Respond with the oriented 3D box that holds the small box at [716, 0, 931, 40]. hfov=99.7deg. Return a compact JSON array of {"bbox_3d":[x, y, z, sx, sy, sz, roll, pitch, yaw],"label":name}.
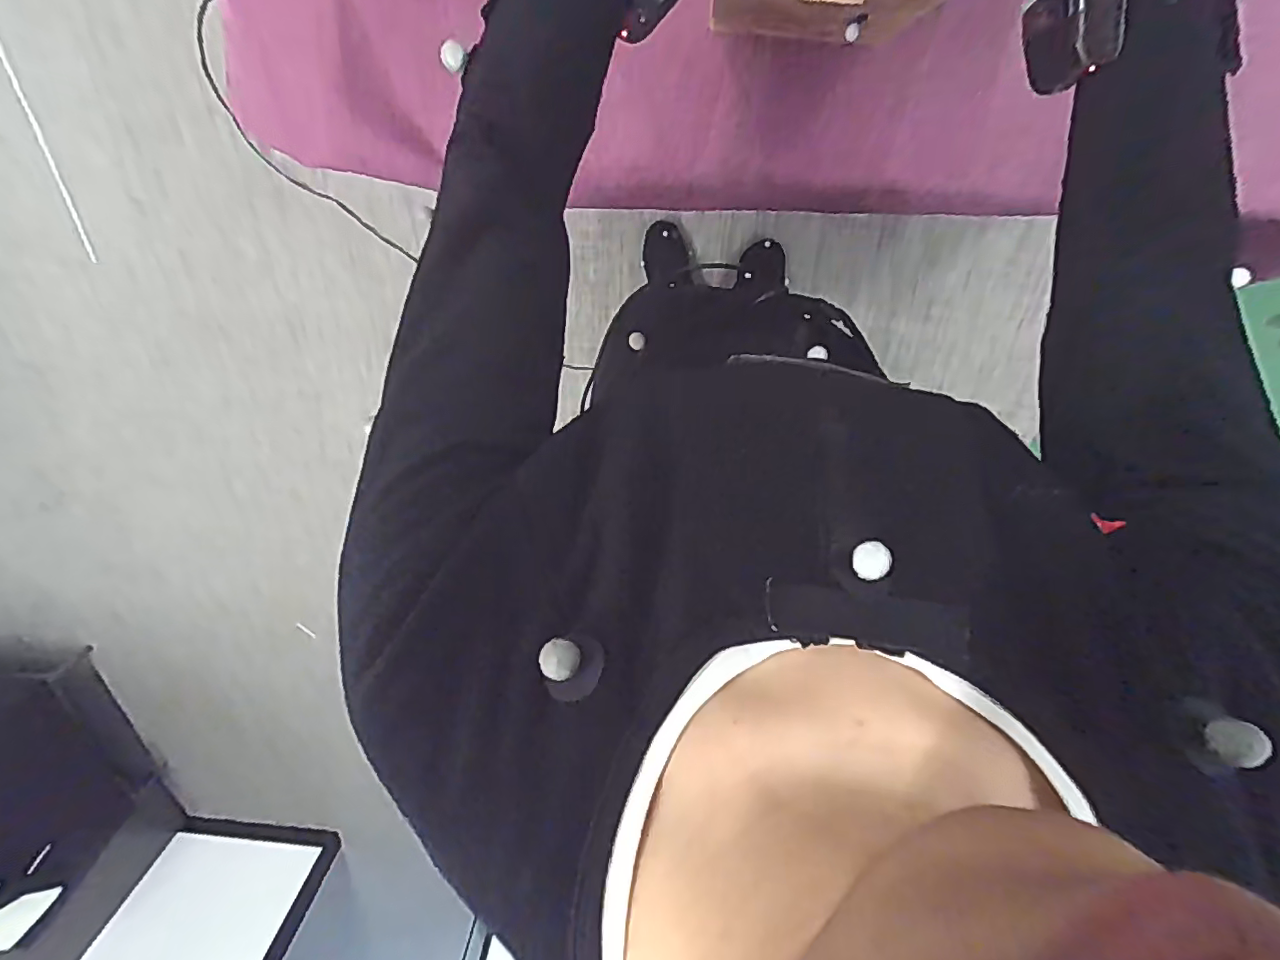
[{"bbox_3d":[0.151,-0.458,0.403,0.168,0.176,0.179,7,119,1],"label":"small box"}]
